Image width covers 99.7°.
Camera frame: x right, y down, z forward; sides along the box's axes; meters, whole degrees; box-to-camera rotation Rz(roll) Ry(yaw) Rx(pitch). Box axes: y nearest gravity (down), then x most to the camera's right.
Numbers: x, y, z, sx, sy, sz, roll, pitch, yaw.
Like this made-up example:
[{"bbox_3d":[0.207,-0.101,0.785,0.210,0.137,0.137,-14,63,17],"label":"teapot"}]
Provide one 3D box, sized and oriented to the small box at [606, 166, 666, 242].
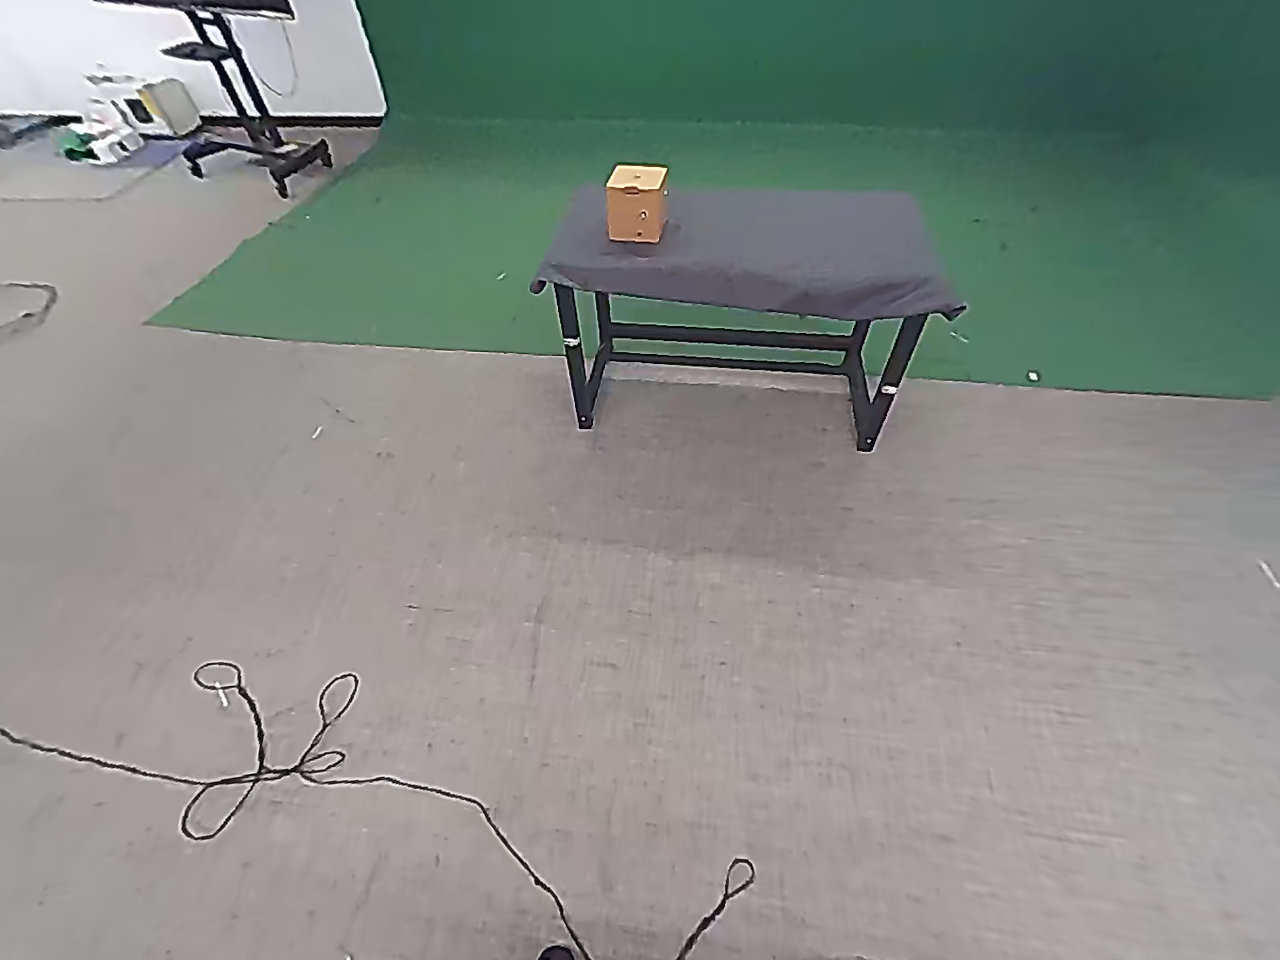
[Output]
[{"bbox_3d":[-0.009,-0.894,1.757,0.168,0.176,0.179,8,50,6],"label":"small box"}]
